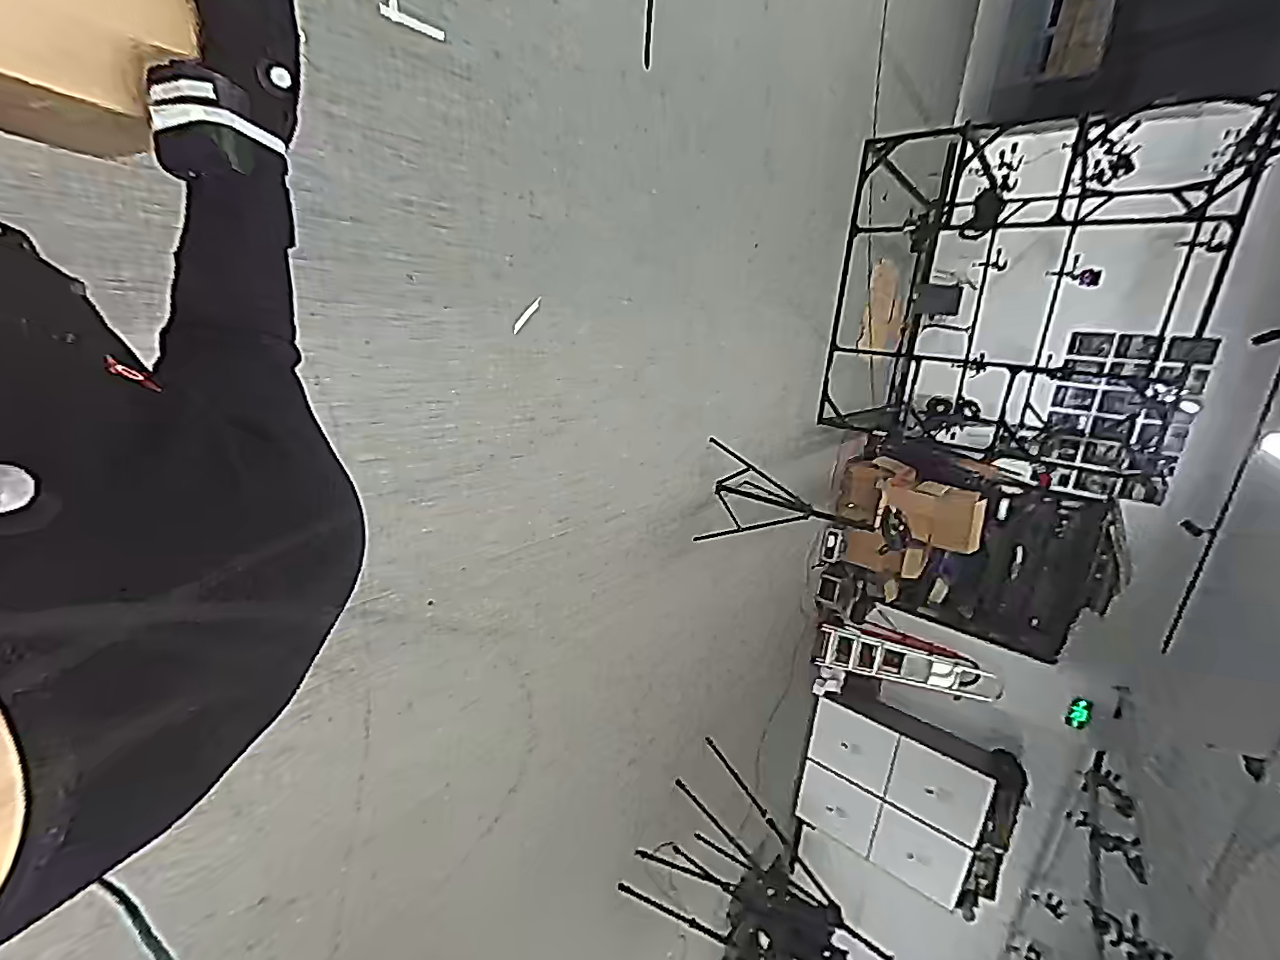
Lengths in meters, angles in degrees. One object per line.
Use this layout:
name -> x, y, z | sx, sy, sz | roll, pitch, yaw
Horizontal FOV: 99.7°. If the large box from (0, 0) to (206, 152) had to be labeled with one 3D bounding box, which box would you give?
large box -> -0.547, -0.431, 0.302 | 0.408, 0.320, 0.320 | -10, 114, -53
